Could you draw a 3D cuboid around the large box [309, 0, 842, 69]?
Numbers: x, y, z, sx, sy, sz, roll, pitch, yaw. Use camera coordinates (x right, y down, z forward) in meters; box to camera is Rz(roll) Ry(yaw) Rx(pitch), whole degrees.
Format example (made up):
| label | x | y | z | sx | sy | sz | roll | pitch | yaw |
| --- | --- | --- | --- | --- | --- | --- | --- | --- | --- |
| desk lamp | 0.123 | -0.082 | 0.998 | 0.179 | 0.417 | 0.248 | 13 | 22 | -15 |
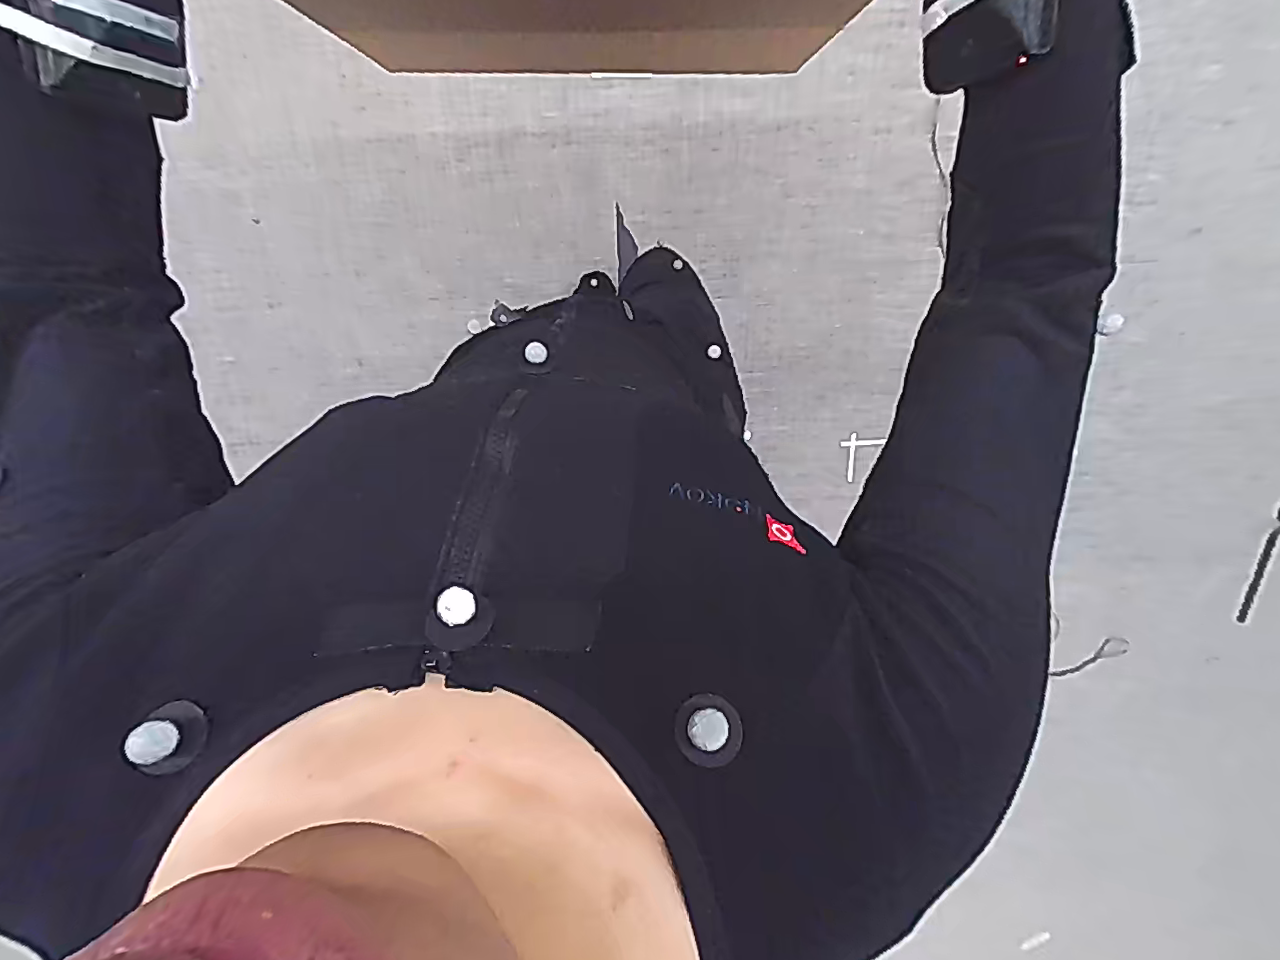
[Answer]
| label | x | y | z | sx | sy | sz | roll | pitch | yaw |
| --- | --- | --- | --- | --- | --- | --- | --- | --- | --- |
| large box | -0.045 | -0.486 | 0.332 | 0.408 | 0.320 | 0.320 | -1 | 115 | -1 |
